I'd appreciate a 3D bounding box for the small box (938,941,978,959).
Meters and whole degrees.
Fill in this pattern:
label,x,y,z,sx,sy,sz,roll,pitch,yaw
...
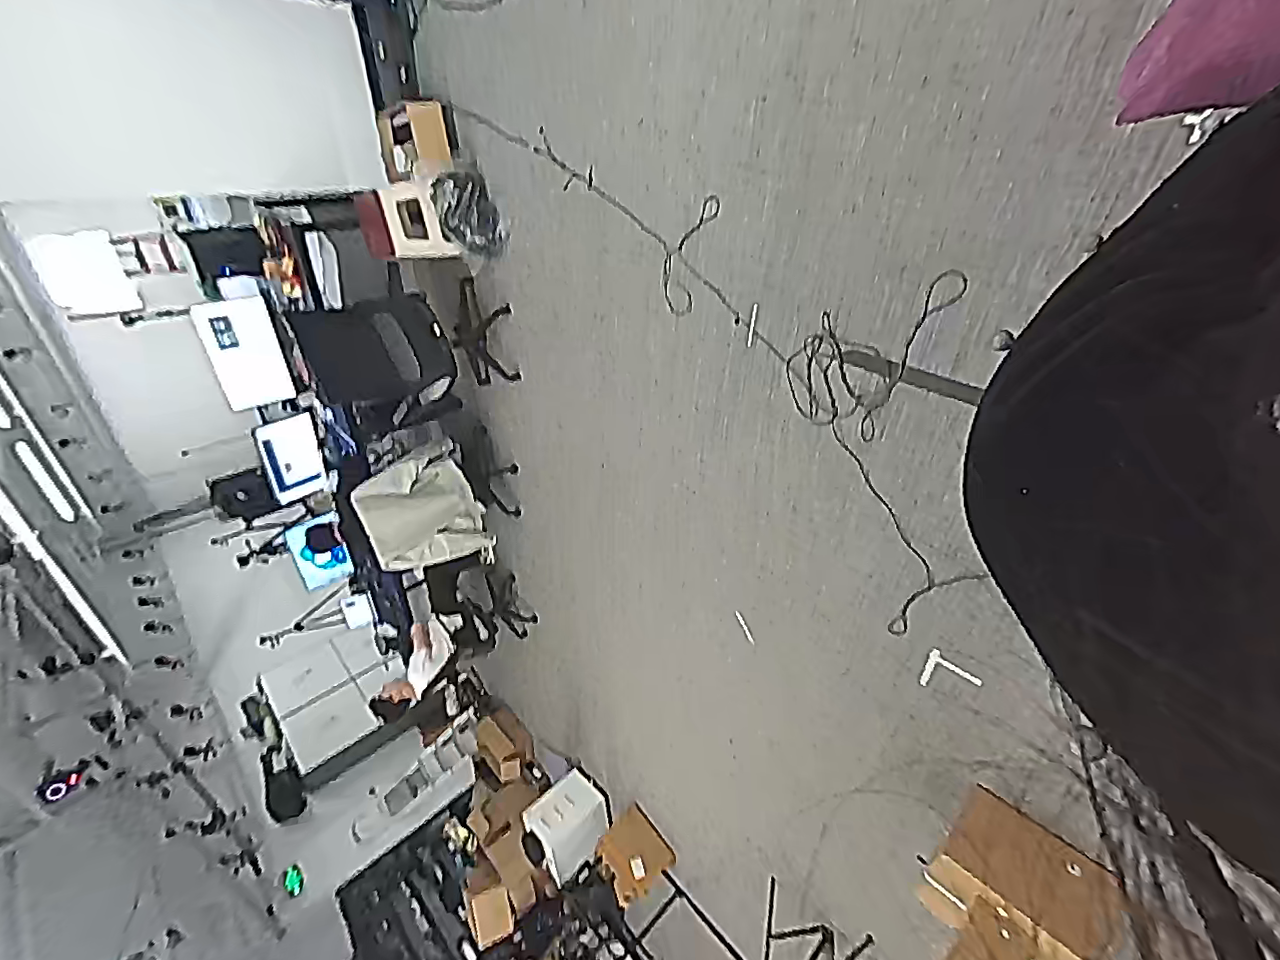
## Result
label,x,y,z,sx,sy,sz,roll,pitch,yaw
small box,0.872,1.404,1.452,0.168,0.176,0.179,28,132,39

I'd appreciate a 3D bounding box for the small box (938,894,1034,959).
label,x,y,z,sx,sy,sz,roll,pitch,yaw
small box,0.992,1.353,1.549,0.168,0.176,0.179,28,131,37
